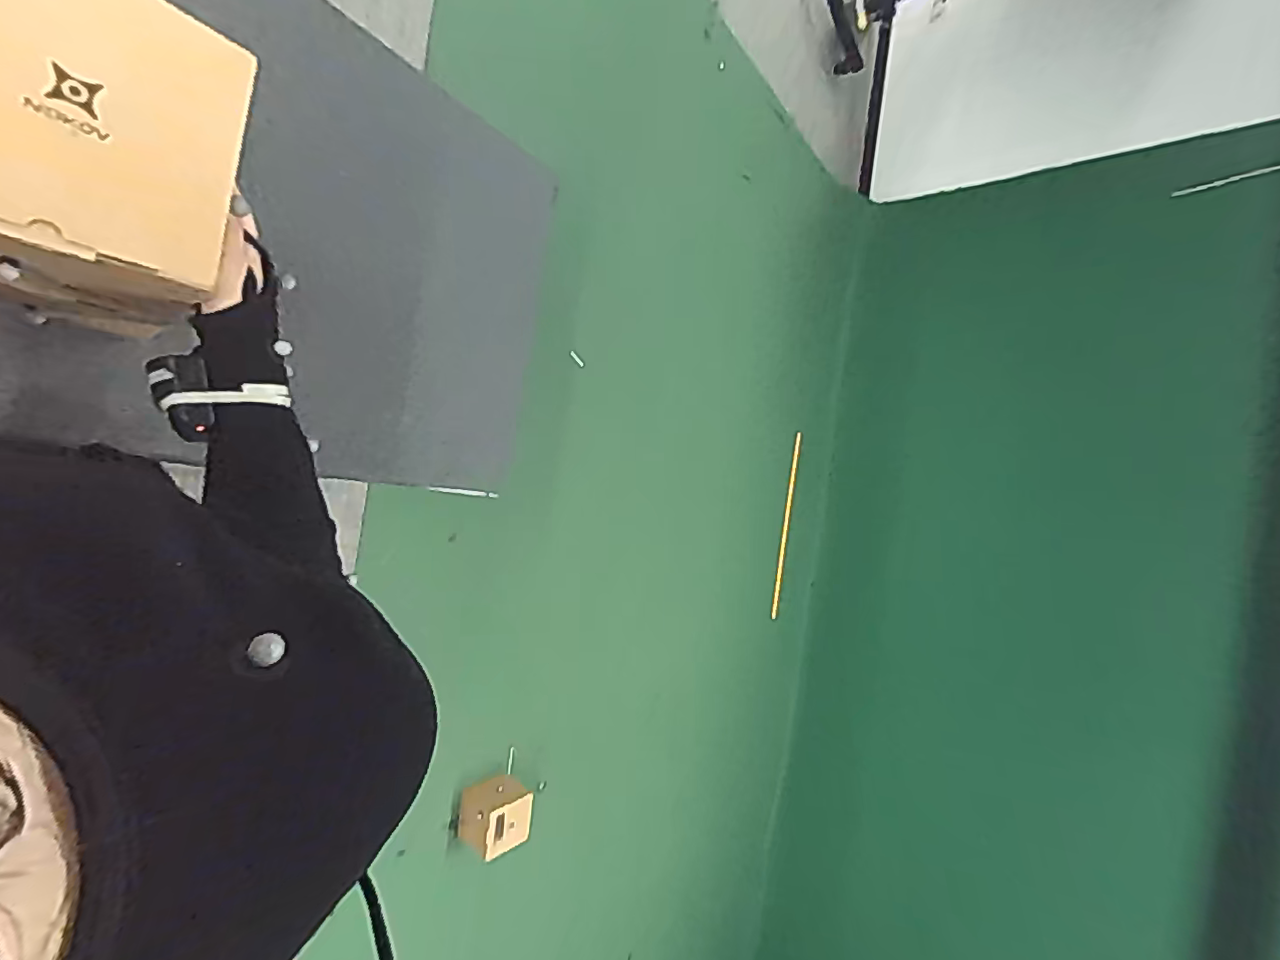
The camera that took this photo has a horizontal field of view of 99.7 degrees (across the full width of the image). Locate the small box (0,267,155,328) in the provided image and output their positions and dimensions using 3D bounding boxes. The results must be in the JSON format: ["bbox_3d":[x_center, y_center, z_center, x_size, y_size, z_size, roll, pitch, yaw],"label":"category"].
[{"bbox_3d":[-0.531,-0.248,0.473,0.168,0.176,0.179,12,86,-50],"label":"small box"}]

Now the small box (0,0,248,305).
[{"bbox_3d":[-0.406,-0.239,0.370,0.168,0.176,0.179,12,86,-51],"label":"small box"}]
